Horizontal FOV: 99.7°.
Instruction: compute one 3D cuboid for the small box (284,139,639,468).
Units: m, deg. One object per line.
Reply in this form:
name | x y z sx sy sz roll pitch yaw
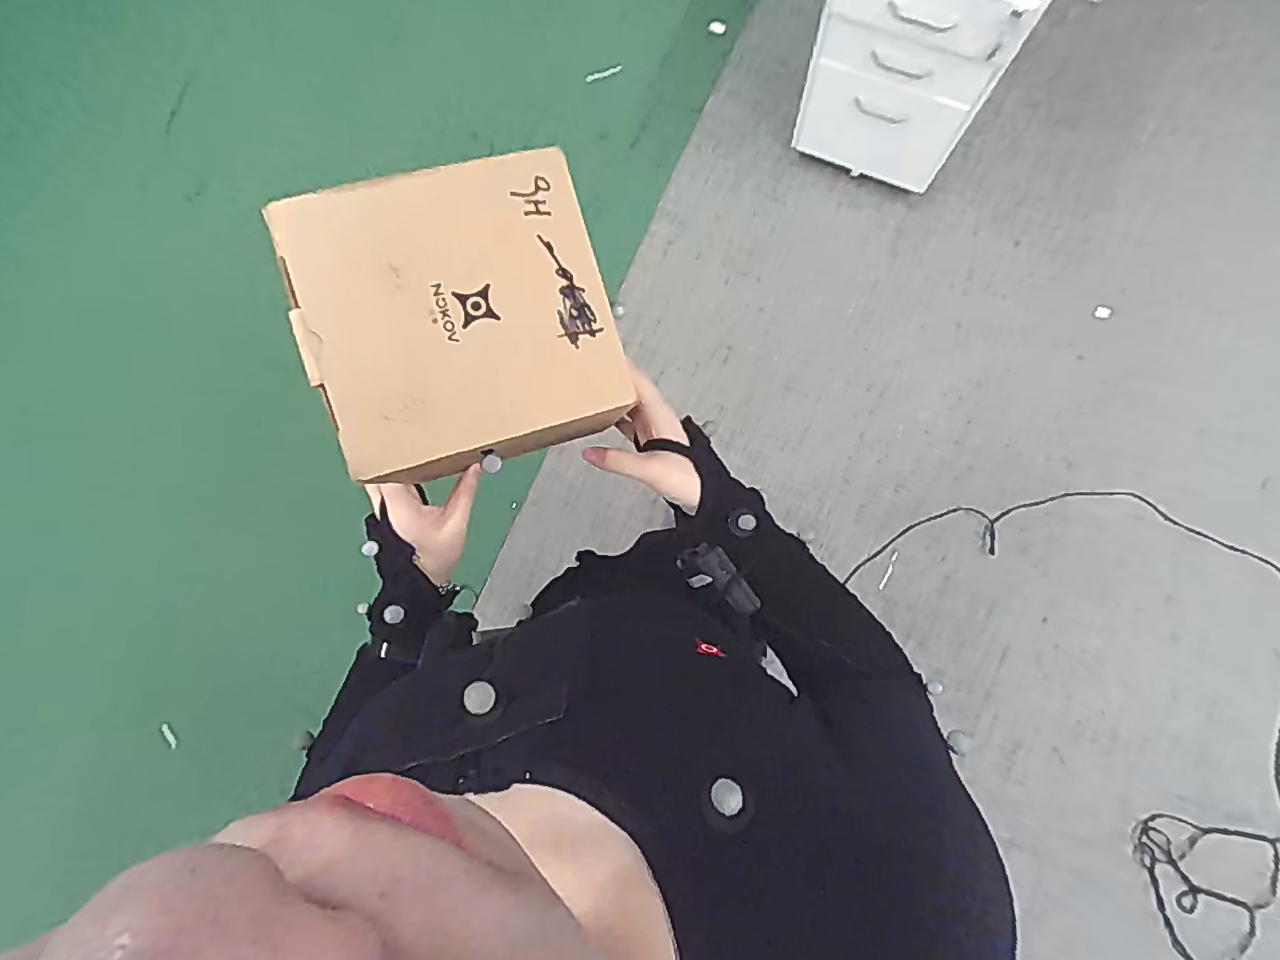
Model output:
small box | -0.115 -0.110 0.404 0.179 0.176 0.168 -17 92 -10
